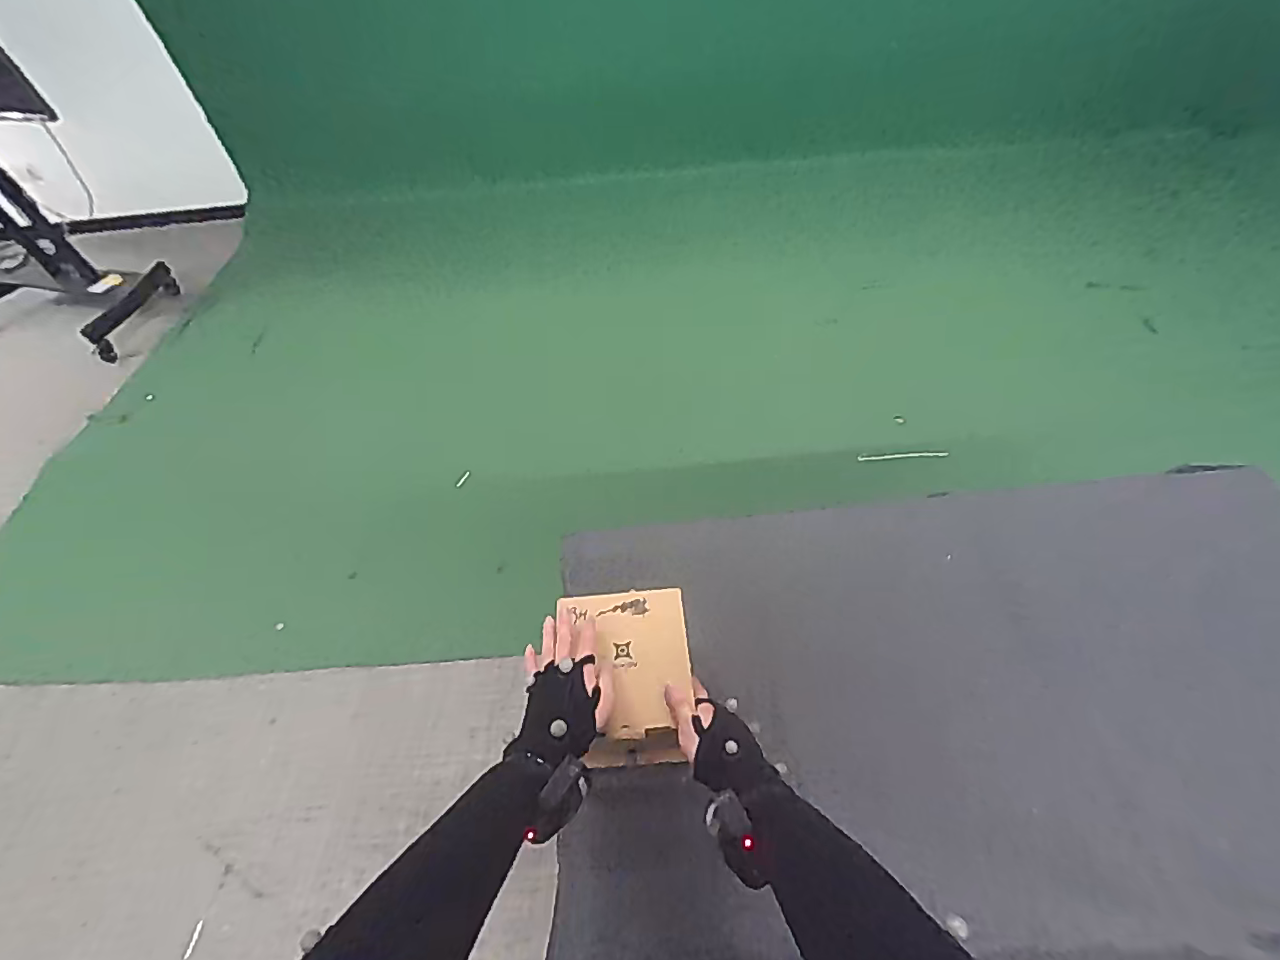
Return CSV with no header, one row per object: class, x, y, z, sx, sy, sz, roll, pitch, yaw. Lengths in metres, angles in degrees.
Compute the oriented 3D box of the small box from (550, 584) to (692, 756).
small box,-0.022,0.258,0.720,0.168,0.176,0.179,-4,53,-1
